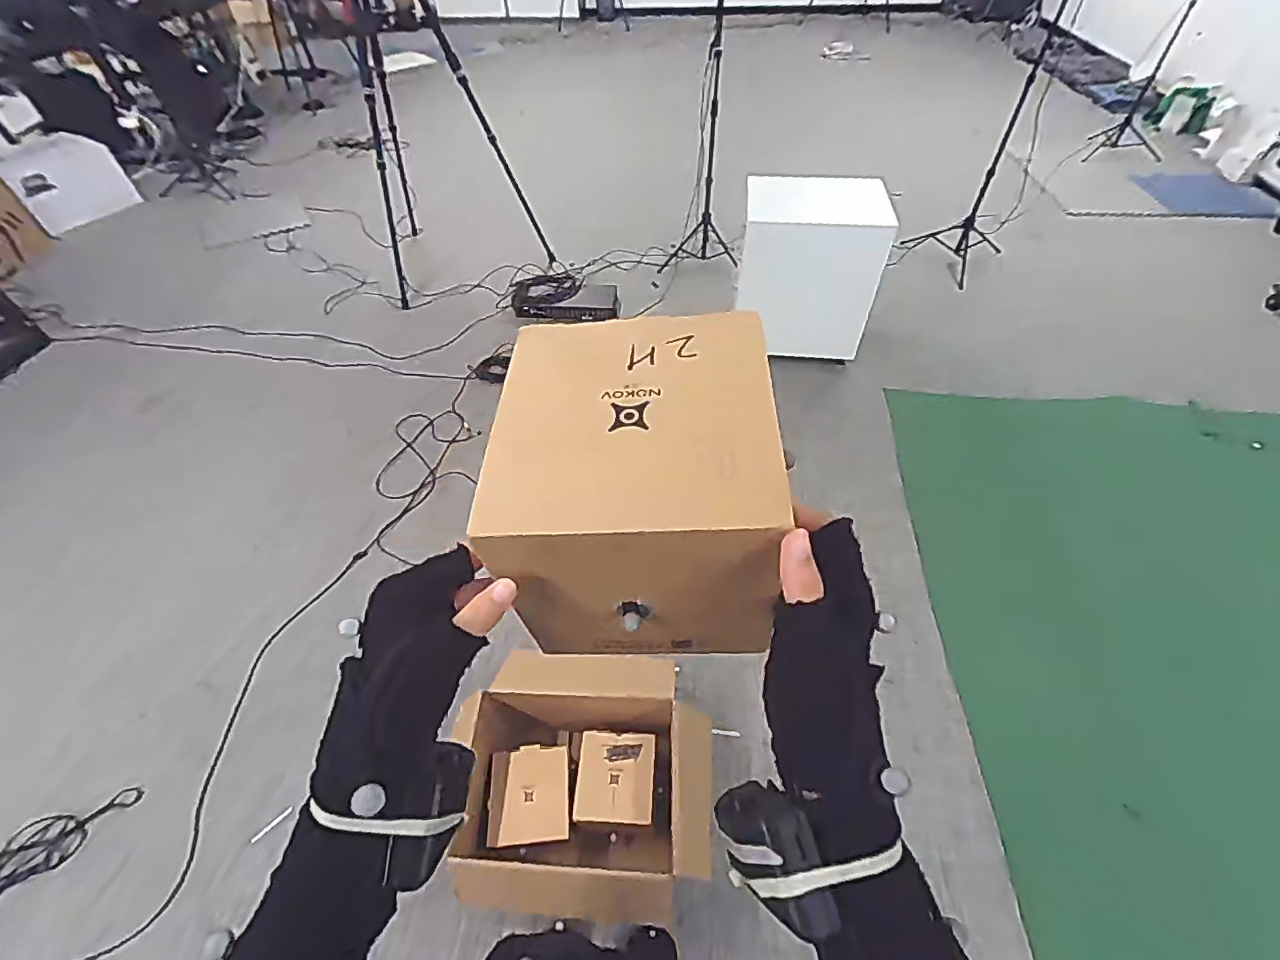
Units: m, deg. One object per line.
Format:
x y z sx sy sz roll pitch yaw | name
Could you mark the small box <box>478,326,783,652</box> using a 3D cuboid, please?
0.004 0.014 0.392 0.168 0.176 0.179 -2 51 5 | small box
